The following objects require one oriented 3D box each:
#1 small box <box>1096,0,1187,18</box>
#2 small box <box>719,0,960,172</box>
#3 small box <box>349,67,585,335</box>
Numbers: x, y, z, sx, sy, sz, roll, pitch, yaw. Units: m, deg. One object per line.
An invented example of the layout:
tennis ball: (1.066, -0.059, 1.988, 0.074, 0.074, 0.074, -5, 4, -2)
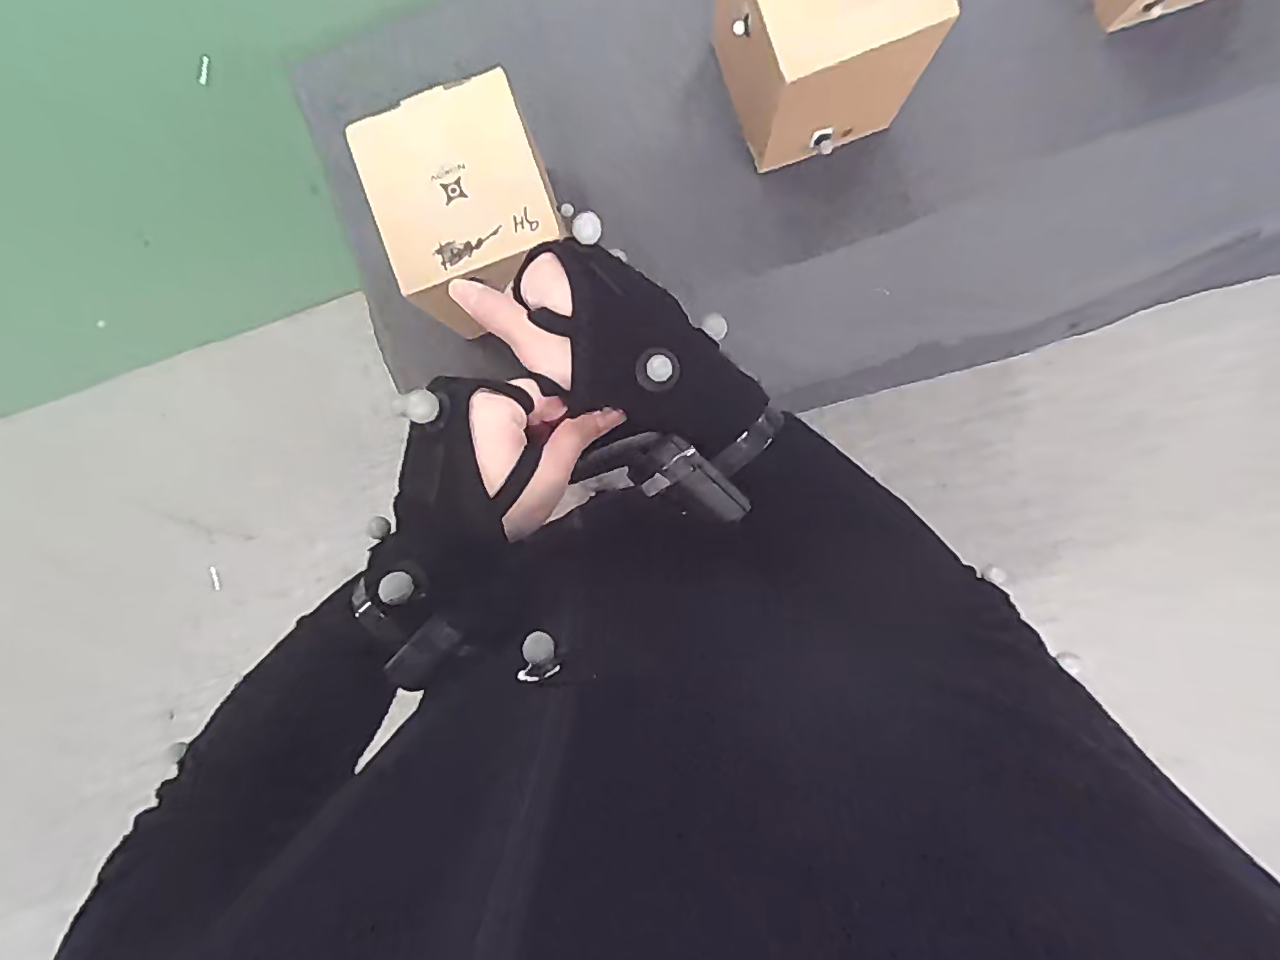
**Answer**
small box: (0.583, -0.617, 0.538, 0.168, 0.176, 0.179, -16, 90, 4)
small box: (0.189, -0.472, 0.569, 0.168, 0.176, 0.179, -19, 92, 5)
small box: (-0.172, -0.283, 0.591, 0.168, 0.176, 0.179, -19, 89, 4)
